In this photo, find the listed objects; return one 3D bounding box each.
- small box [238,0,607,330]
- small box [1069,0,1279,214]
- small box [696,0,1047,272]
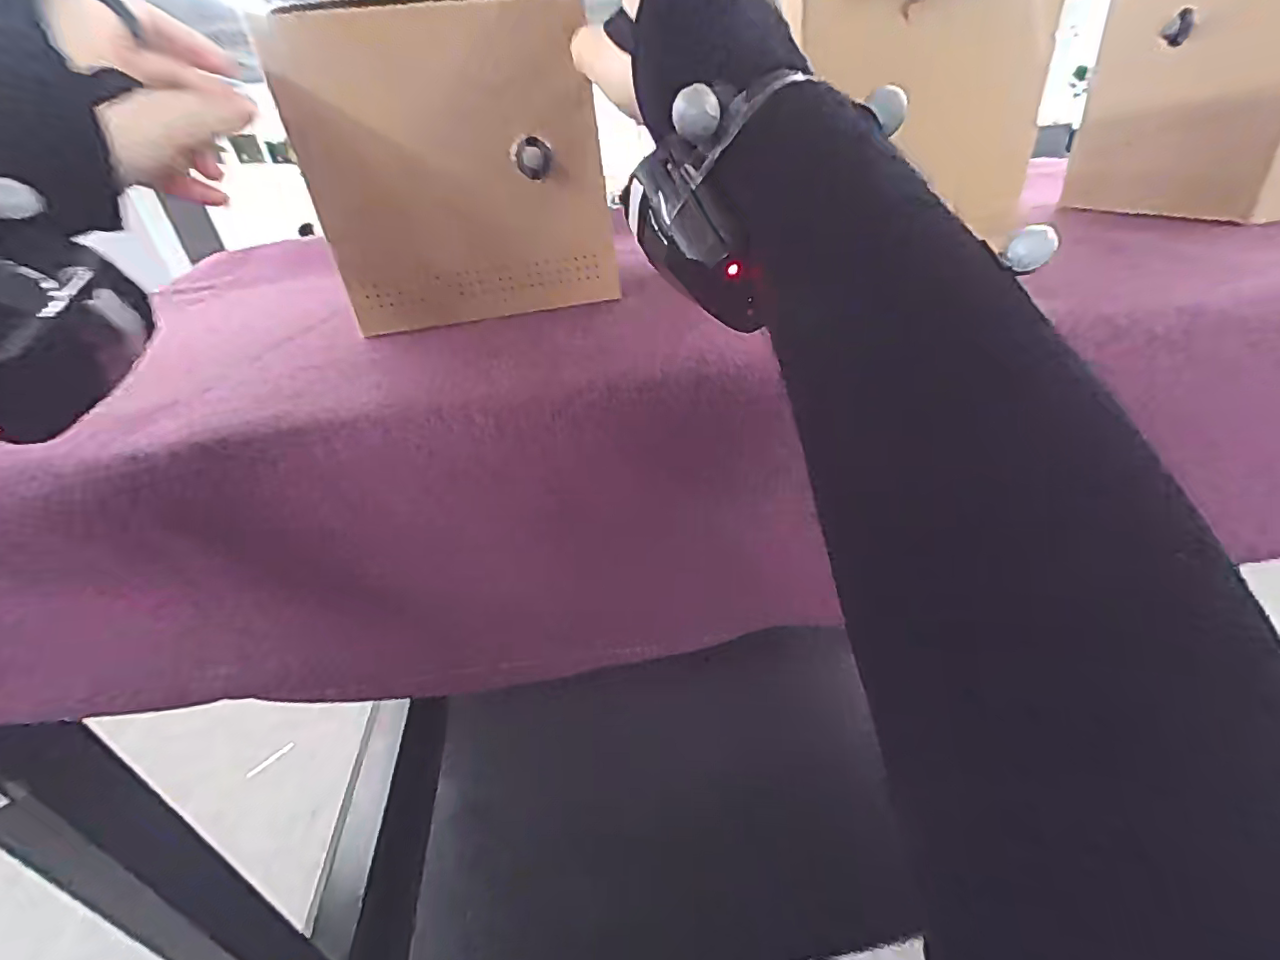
[{"bbox_3d":[-0.123,-0.218,0.384,0.179,0.176,0.168,-11,31,-8],"label":"small box"},{"bbox_3d":[0.476,-0.301,0.402,0.168,0.176,0.179,-8,31,-1],"label":"small box"},{"bbox_3d":[0.148,-0.254,0.390,0.168,0.176,0.179,-12,30,-9],"label":"small box"}]
